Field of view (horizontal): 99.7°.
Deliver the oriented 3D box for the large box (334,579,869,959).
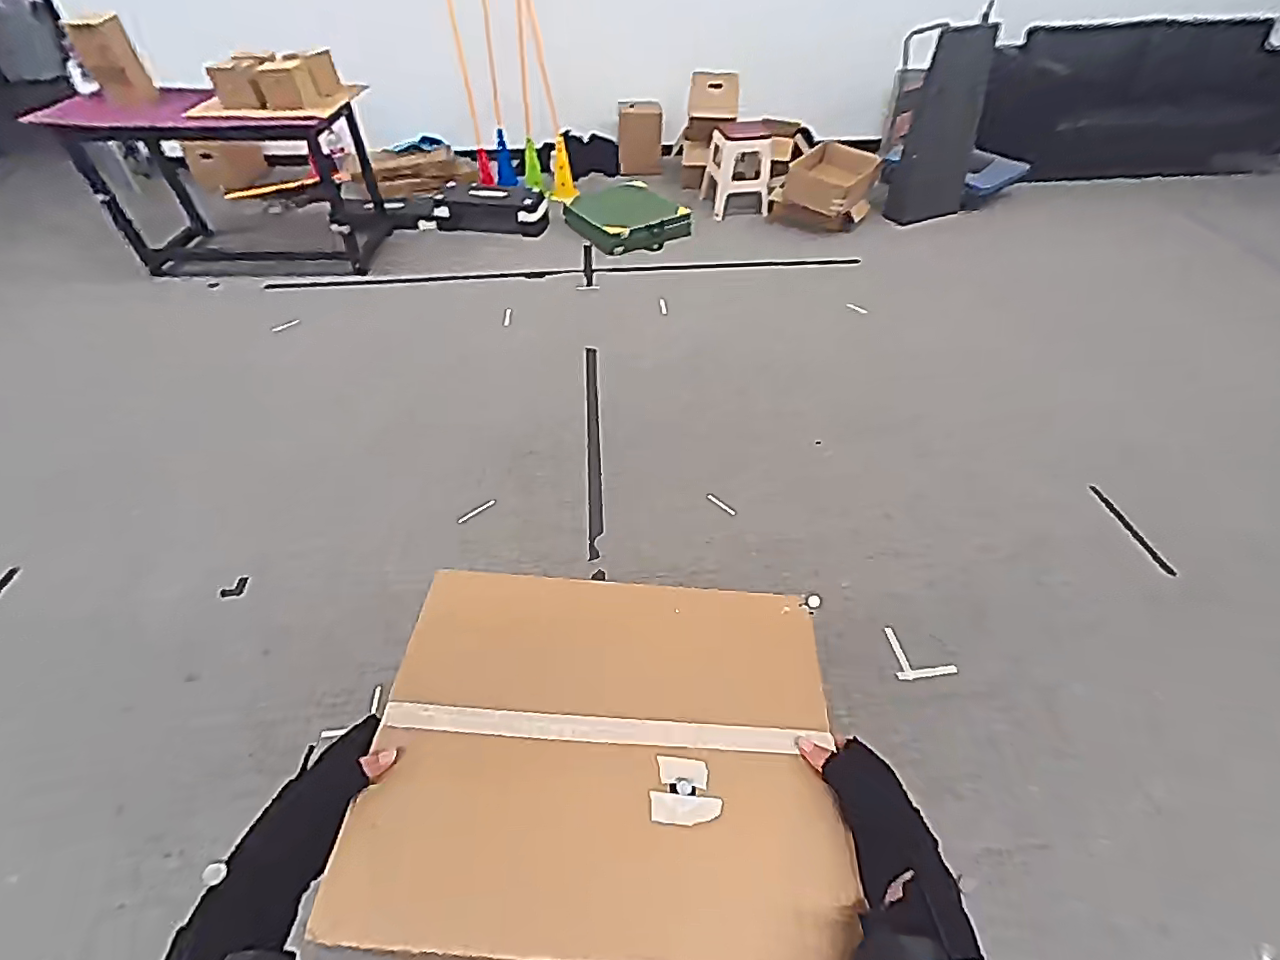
[{"bbox_3d":[-0.029,0.338,0.602,0.408,0.320,0.320,6,47,0],"label":"large box"}]
